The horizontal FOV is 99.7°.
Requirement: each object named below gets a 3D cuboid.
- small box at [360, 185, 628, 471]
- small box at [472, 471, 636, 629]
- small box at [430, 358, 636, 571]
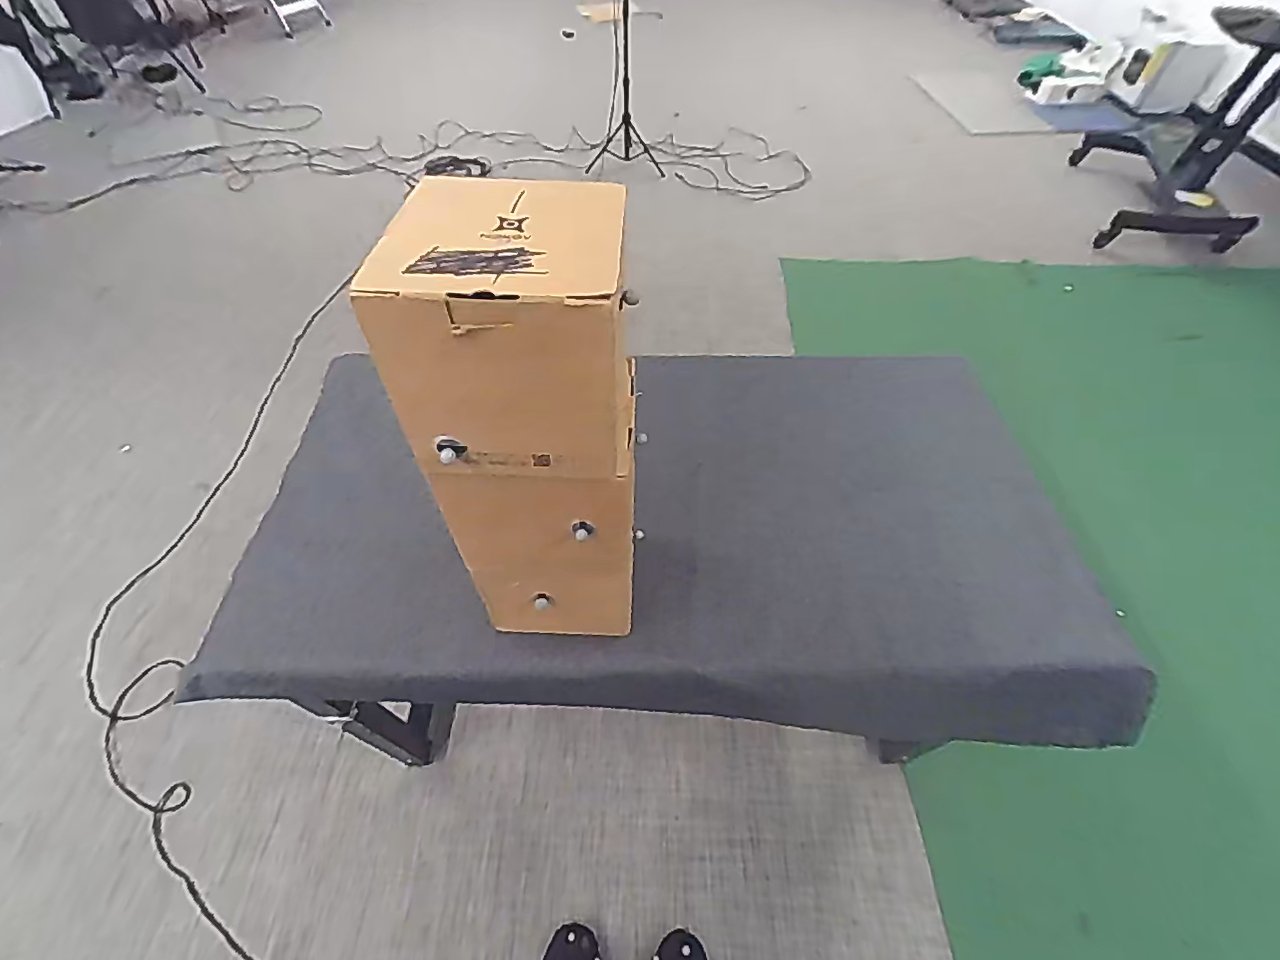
[{"bbox_3d":[-0.096,-0.124,0.455,0.168,0.176,0.179,3,49,0],"label":"small box"},{"bbox_3d":[-0.097,0.084,0.707,0.179,0.176,0.168,2,51,1],"label":"small box"},{"bbox_3d":[-0.095,-0.015,0.578,0.179,0.176,0.168,1,50,1],"label":"small box"}]
